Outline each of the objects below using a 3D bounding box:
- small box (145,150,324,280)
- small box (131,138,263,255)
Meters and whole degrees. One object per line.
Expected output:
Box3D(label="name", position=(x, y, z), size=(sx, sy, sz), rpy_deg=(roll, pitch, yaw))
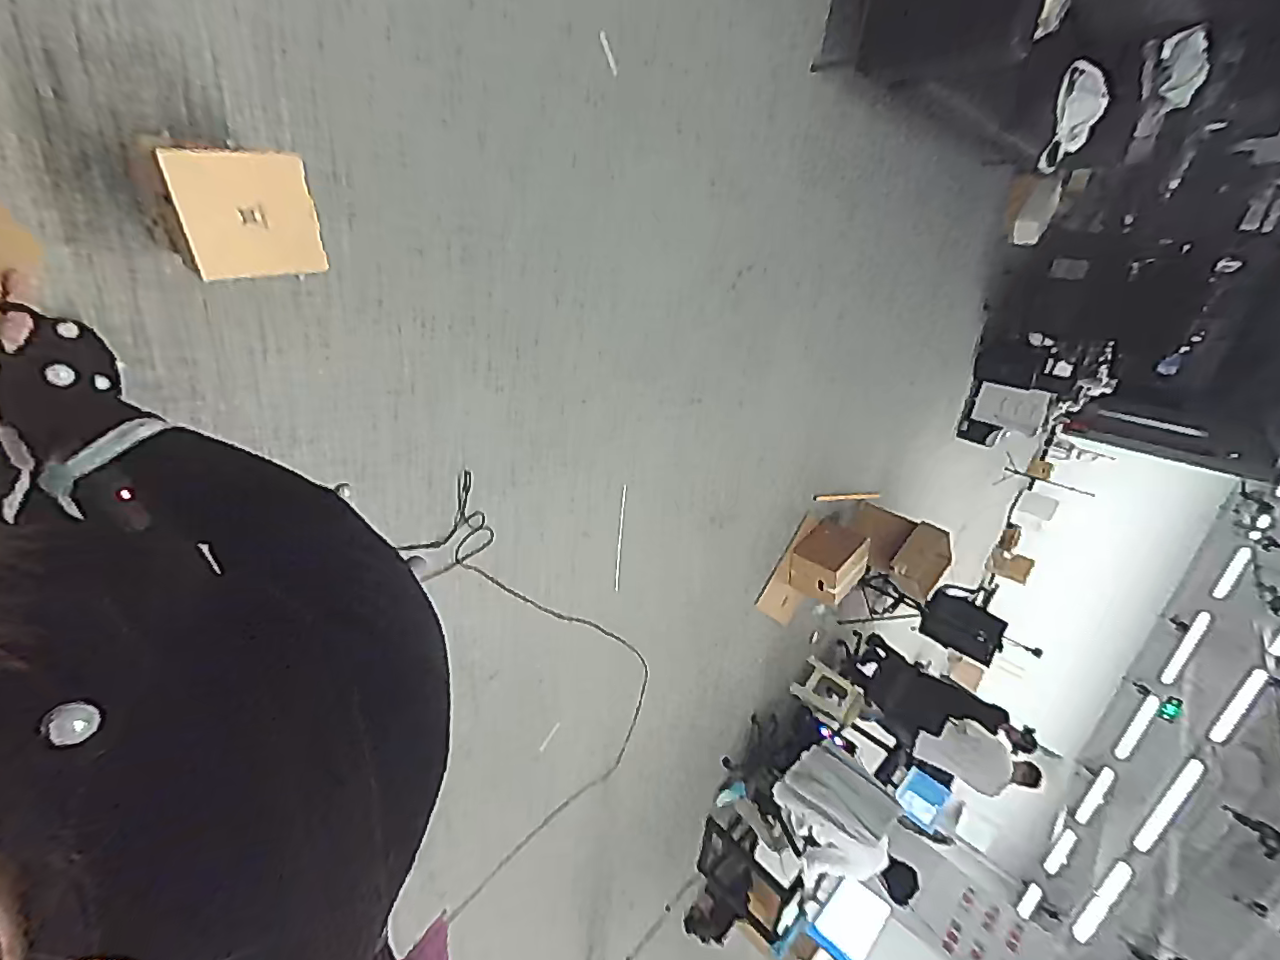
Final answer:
Box3D(label="small box", position=(-0.635, -0.413, 0.846), size=(0.179, 0.176, 0.168), rpy_deg=(-26, 128, -38))
Box3D(label="small box", position=(-0.748, -0.483, 0.941), size=(0.179, 0.176, 0.168), rpy_deg=(-20, 125, -41))
